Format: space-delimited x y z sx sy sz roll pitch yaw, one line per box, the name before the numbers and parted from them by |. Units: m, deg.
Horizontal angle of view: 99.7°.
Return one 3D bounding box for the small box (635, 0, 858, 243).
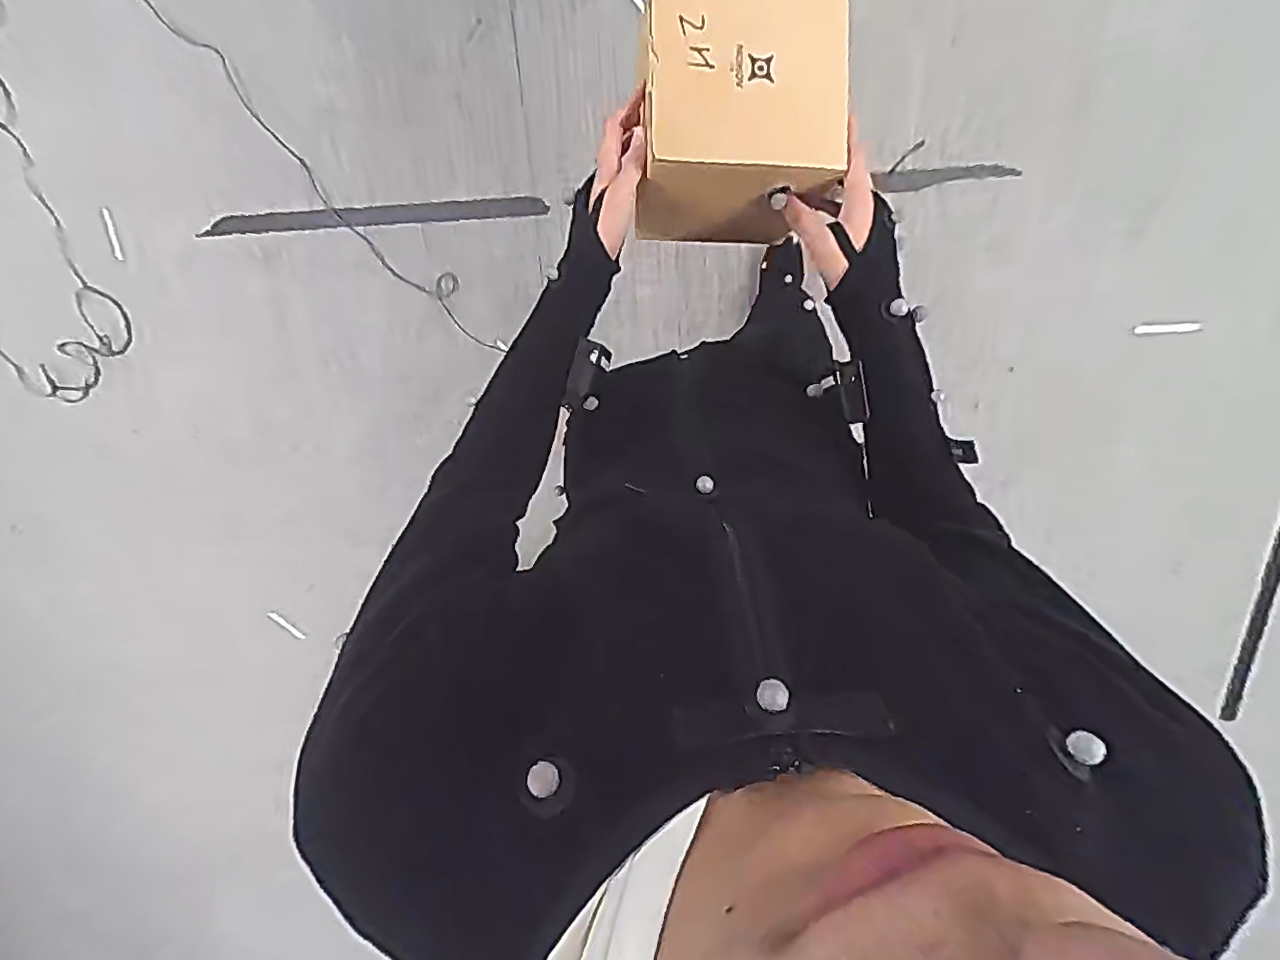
small box | 0.091 -0.350 0.533 0.179 0.176 0.168 0 91 -5
